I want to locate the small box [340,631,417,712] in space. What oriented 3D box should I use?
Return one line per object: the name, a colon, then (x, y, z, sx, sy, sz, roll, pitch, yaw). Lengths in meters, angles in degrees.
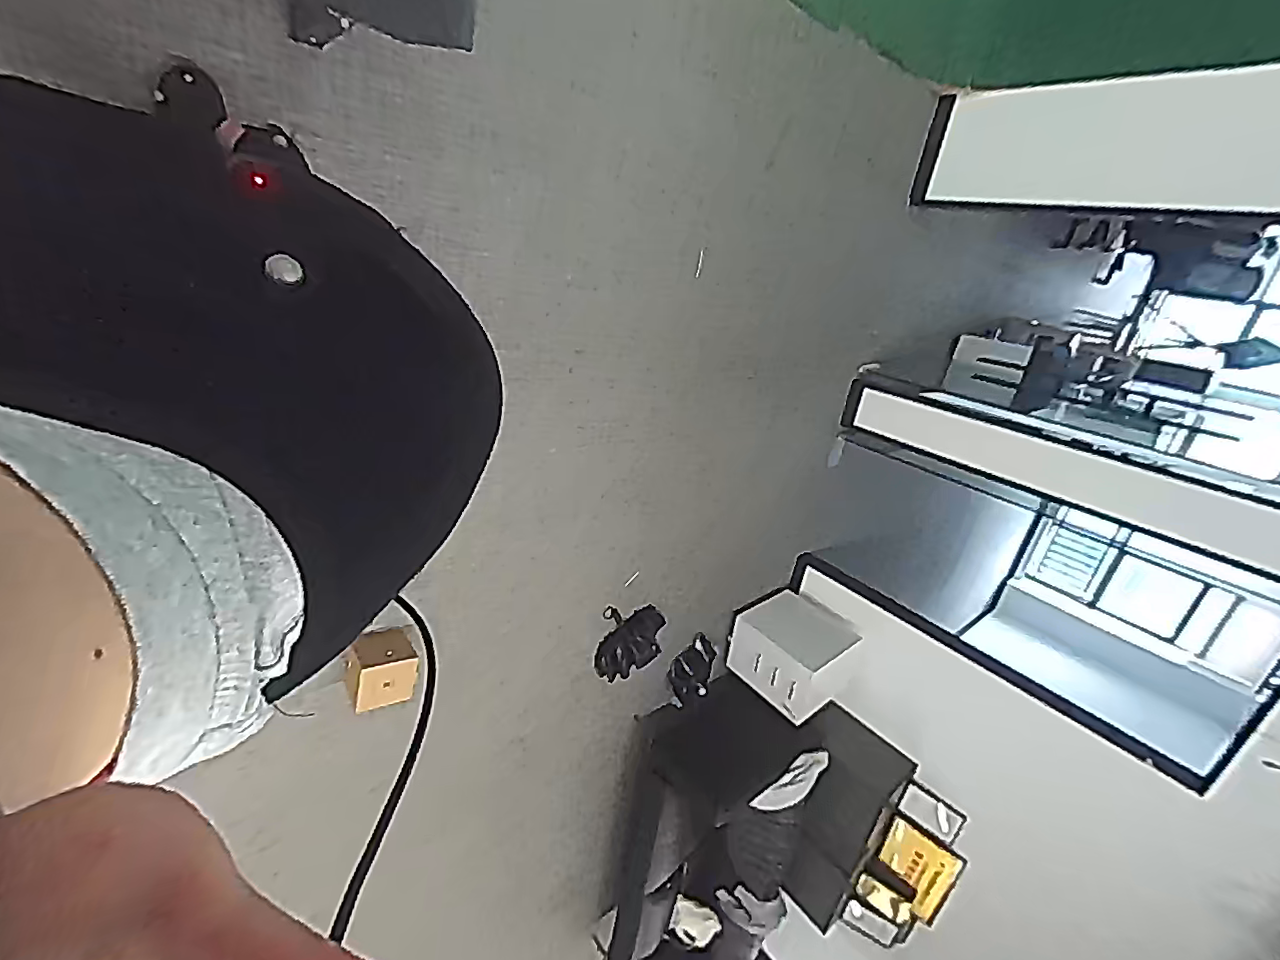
small box: (-0.855, 0.612, 1.761, 0.179, 0.176, 0.168, 1, 111, -42)
